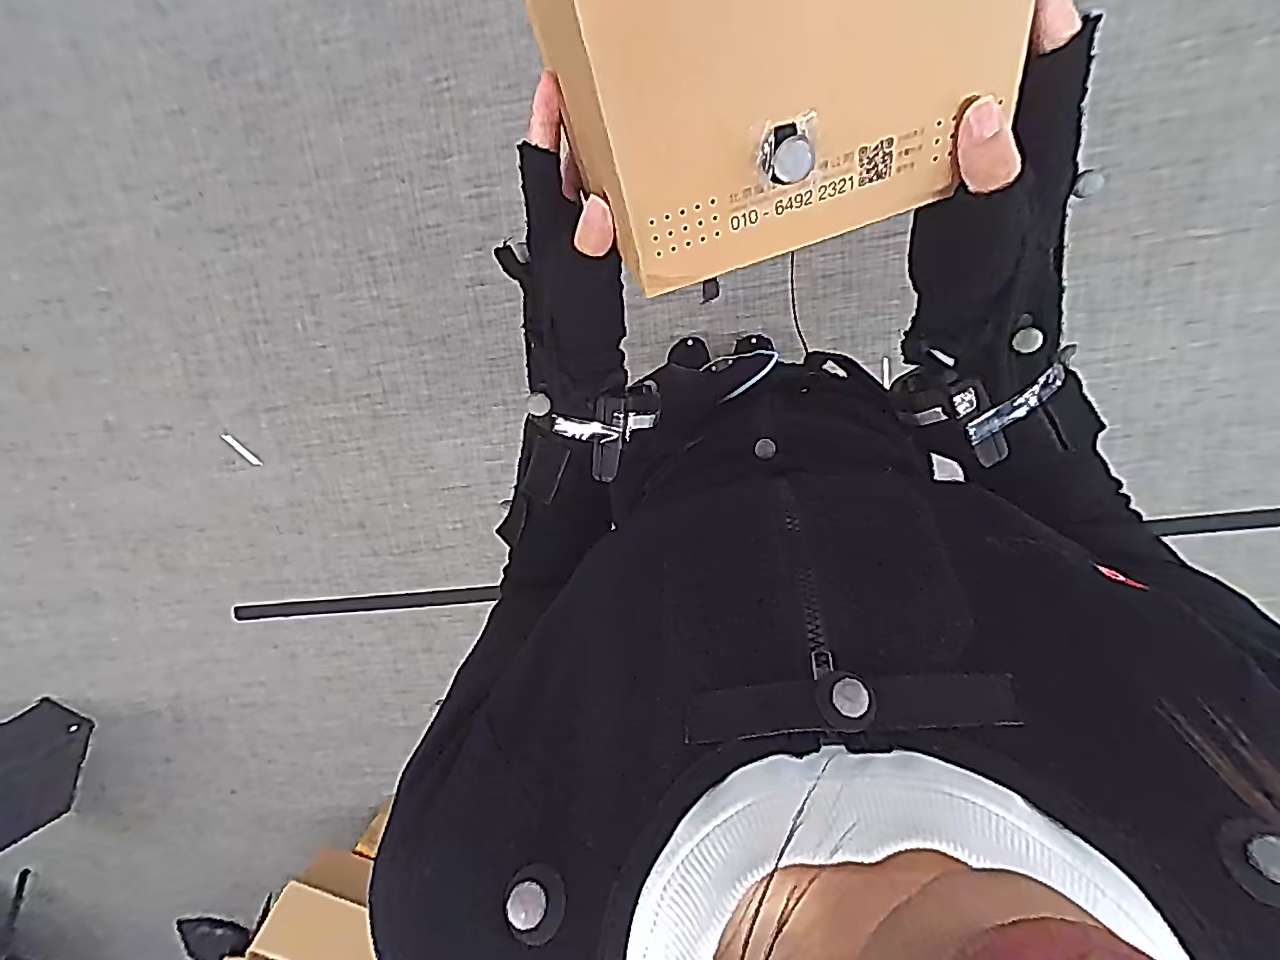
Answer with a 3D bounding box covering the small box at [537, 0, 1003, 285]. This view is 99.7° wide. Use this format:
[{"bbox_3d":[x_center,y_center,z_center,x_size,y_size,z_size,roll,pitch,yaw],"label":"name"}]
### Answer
[{"bbox_3d":[0.043,-0.220,0.261,0.168,0.179,0.176,-19,132,0],"label":"small box"}]
